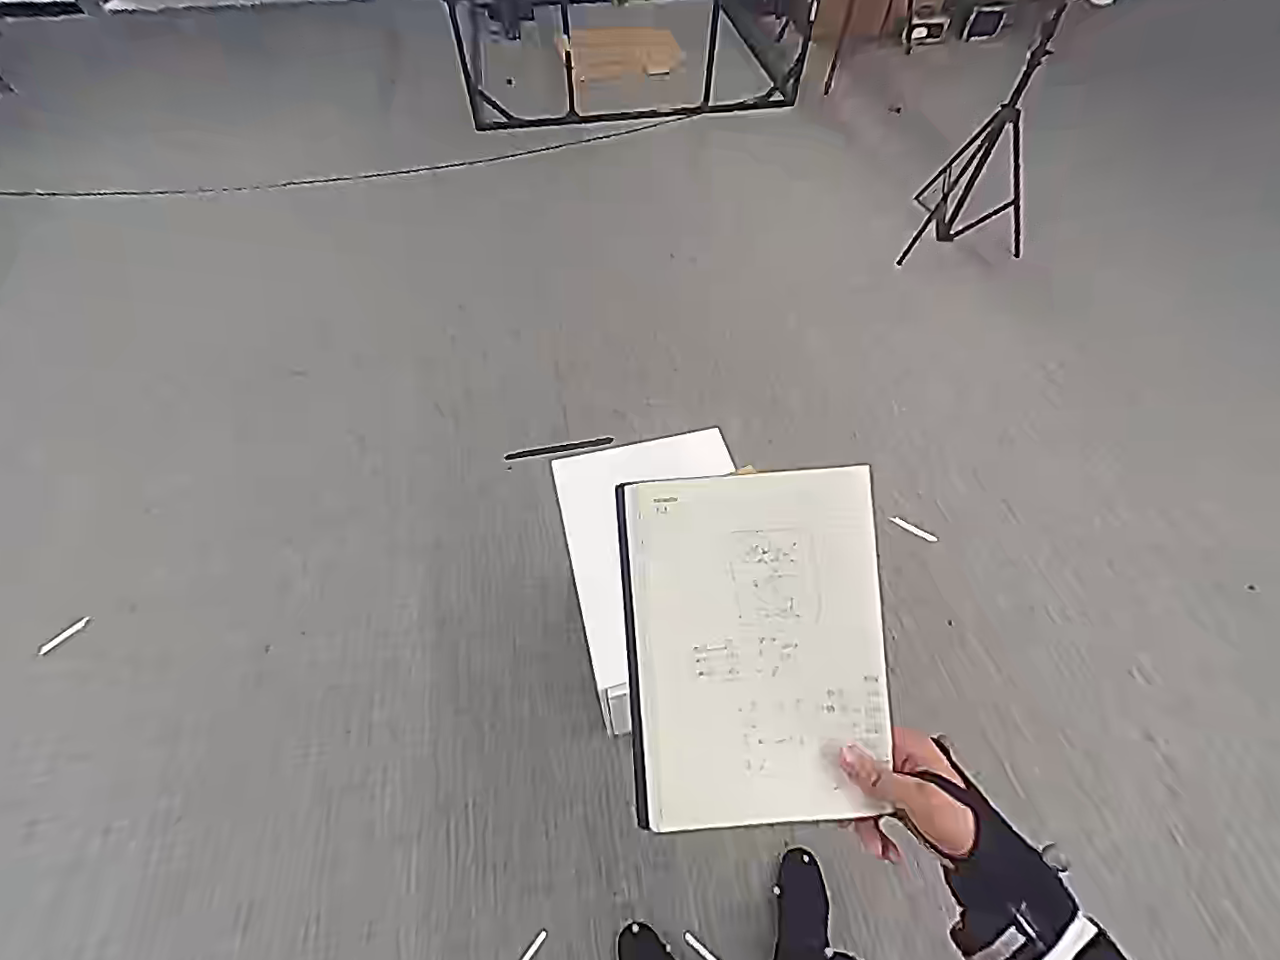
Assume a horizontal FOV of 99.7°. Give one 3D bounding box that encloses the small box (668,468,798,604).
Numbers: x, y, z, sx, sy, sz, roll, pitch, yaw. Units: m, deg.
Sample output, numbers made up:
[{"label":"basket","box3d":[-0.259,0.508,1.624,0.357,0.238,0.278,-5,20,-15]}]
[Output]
[{"label":"small box","box3d":[0.165,0.109,1.025,0.179,0.176,0.168,-20,59,-12]}]
